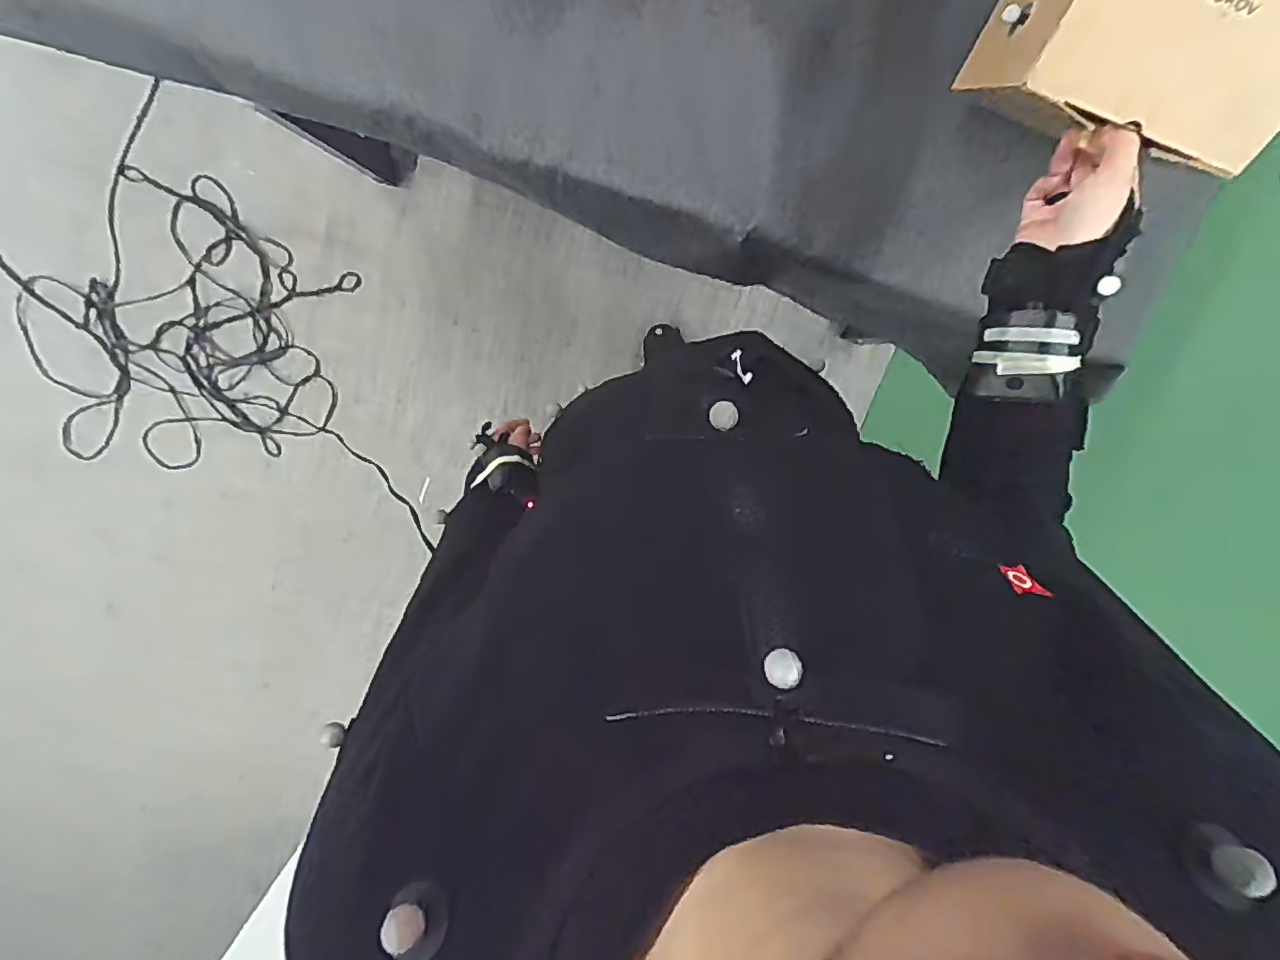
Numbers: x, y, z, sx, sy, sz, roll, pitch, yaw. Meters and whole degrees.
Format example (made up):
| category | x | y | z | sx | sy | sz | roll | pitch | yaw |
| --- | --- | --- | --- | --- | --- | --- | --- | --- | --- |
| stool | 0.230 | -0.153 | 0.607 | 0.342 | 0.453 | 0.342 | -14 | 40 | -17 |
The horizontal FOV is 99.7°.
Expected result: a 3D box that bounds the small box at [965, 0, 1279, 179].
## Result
| category | x | y | z | sx | sy | sz | roll | pitch | yaw |
| --- | --- | --- | --- | --- | --- | --- | --- | --- | --- |
| small box | 0.368 | -0.343 | 0.383 | 0.168 | 0.176 | 0.179 | 19 | 125 | -3 |
